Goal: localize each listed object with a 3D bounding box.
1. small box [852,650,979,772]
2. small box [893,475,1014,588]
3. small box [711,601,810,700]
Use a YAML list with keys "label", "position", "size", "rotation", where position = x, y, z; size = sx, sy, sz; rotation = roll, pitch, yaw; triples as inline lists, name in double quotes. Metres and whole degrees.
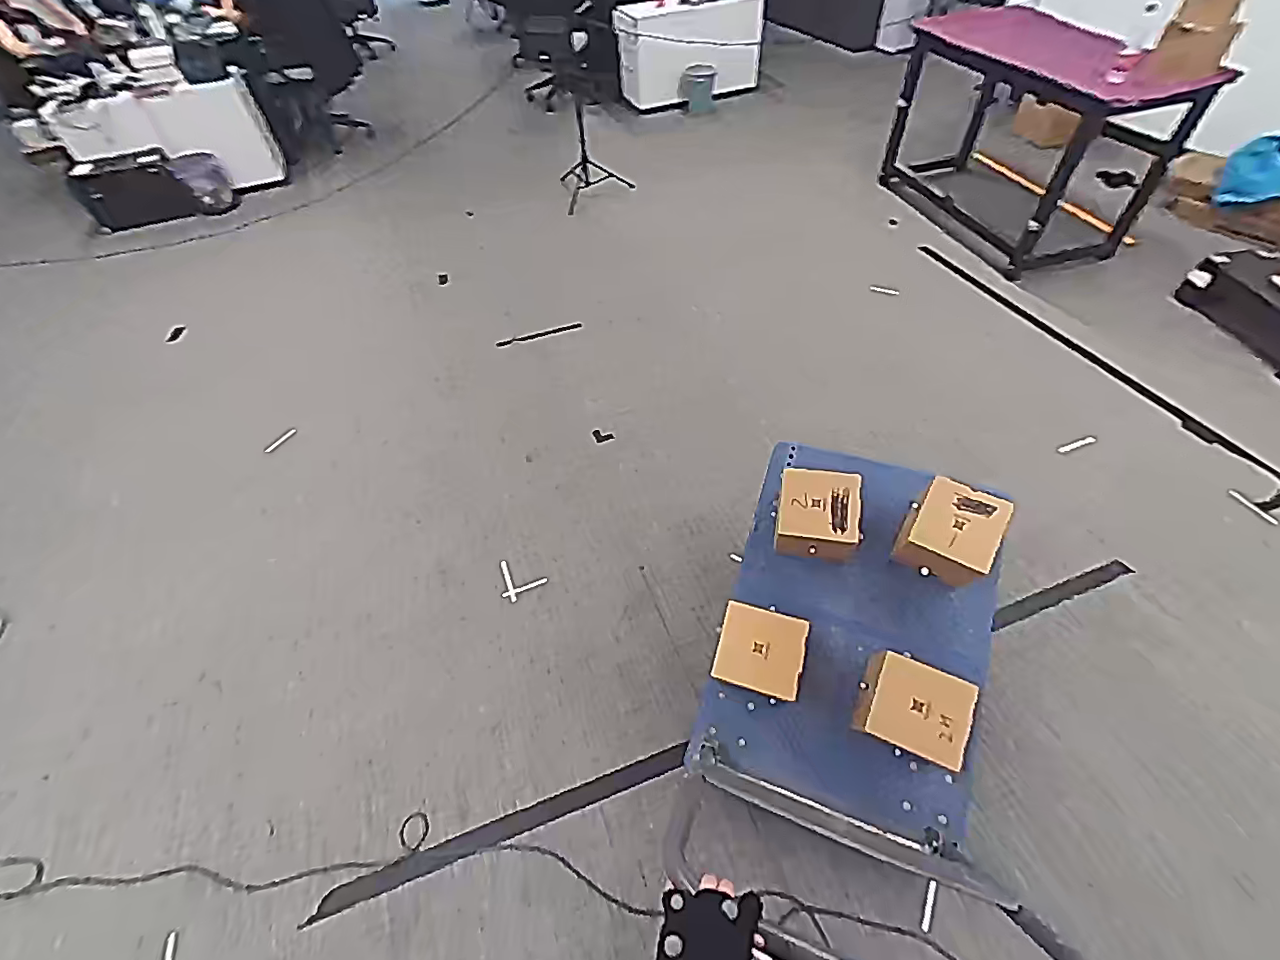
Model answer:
- label: "small box"
  position: [0.556, 0.472, 1.114]
  size: [0.179, 0.176, 0.168]
  rotation: [20, 73, 18]
- label: "small box"
  position: [0.702, 0.122, 1.232]
  size: [0.168, 0.176, 0.179]
  rotation: [26, 76, 19]
- label: "small box"
  position: [0.265, 0.384, 1.205]
  size: [0.179, 0.176, 0.168]
  rotation: [13, 71, 14]
